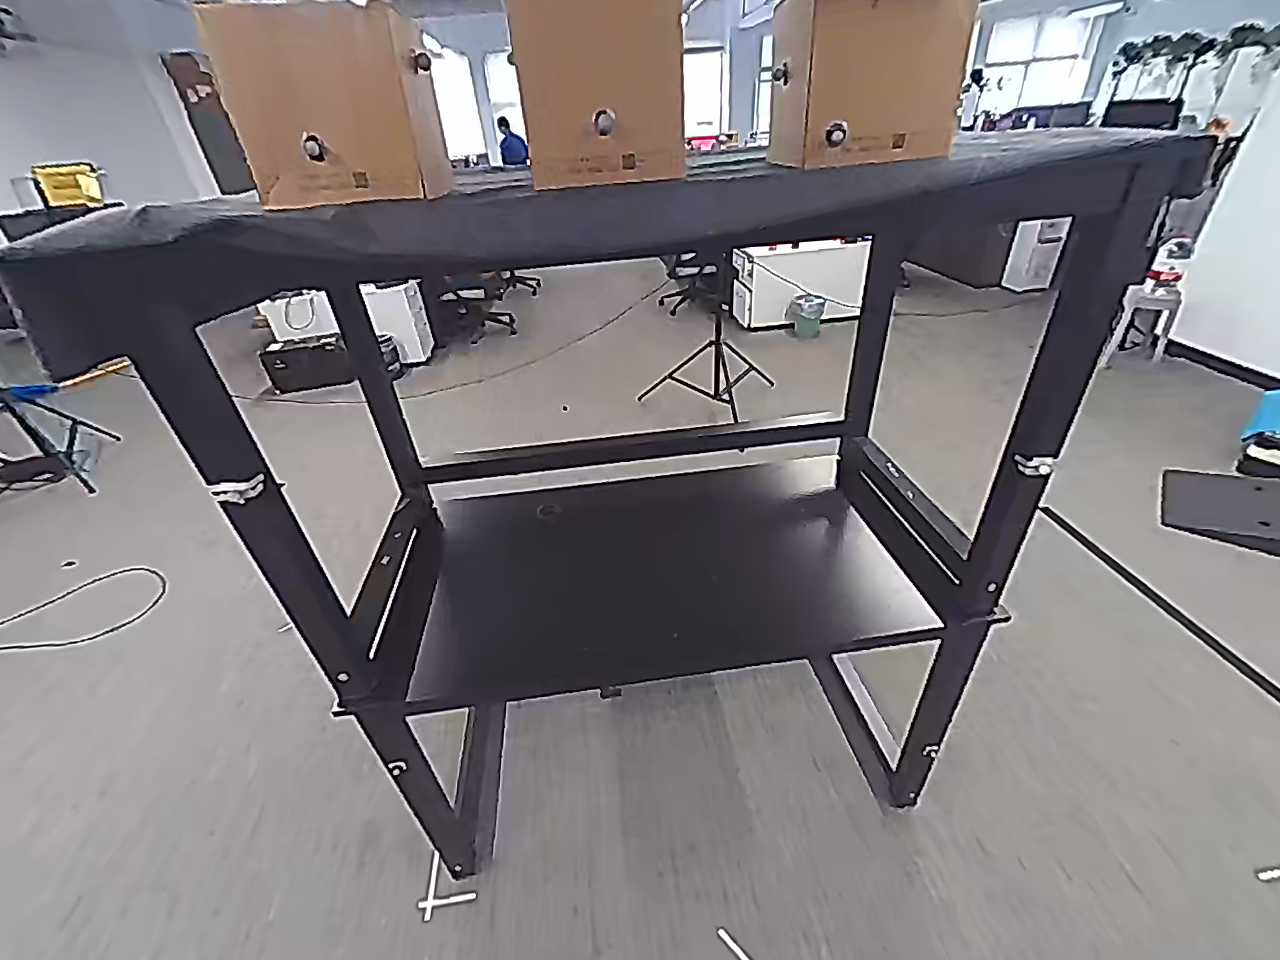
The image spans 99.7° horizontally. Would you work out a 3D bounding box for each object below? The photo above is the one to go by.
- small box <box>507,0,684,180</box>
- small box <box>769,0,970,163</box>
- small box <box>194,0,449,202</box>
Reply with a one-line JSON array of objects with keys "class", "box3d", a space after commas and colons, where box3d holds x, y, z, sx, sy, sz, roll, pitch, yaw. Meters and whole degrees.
[{"class": "small box", "box3d": [-0.045, -0.434, 0.601, 0.168, 0.176, 0.179, -6, 32, -2]}, {"class": "small box", "box3d": [0.251, -0.471, 0.624, 0.168, 0.176, 0.179, -5, 32, 0]}, {"class": "small box", "box3d": [-0.316, -0.400, 0.583, 0.168, 0.176, 0.179, -6, 32, -5]}]
